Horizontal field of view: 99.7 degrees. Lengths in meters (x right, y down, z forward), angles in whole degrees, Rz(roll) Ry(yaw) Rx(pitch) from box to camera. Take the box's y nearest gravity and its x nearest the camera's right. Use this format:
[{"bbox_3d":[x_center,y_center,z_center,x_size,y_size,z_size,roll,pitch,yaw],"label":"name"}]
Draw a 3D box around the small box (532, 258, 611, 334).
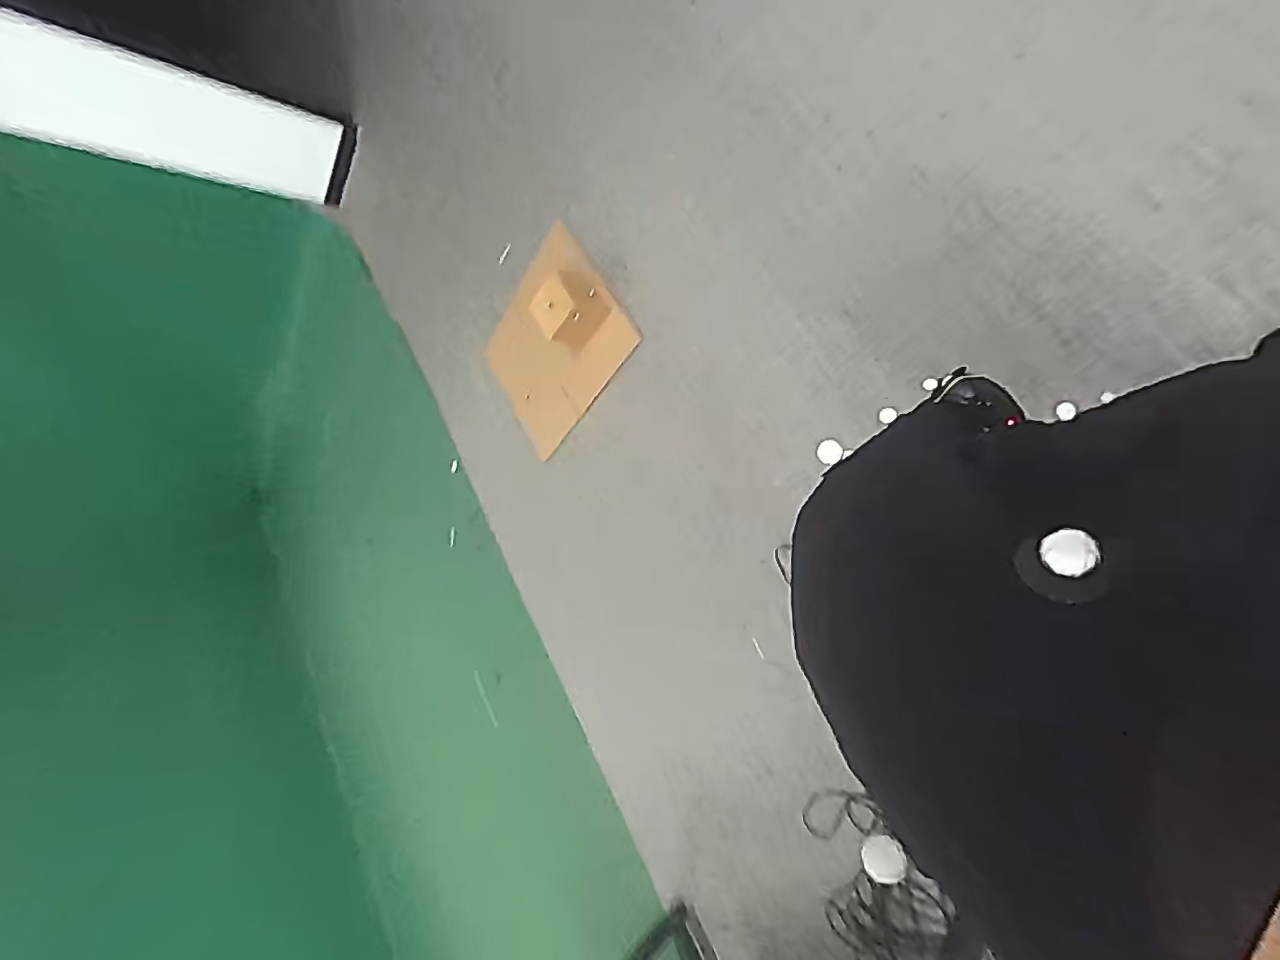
[{"bbox_3d":[-0.230,-0.618,1.842,0.179,0.176,0.168,-42,69,37],"label":"small box"}]
